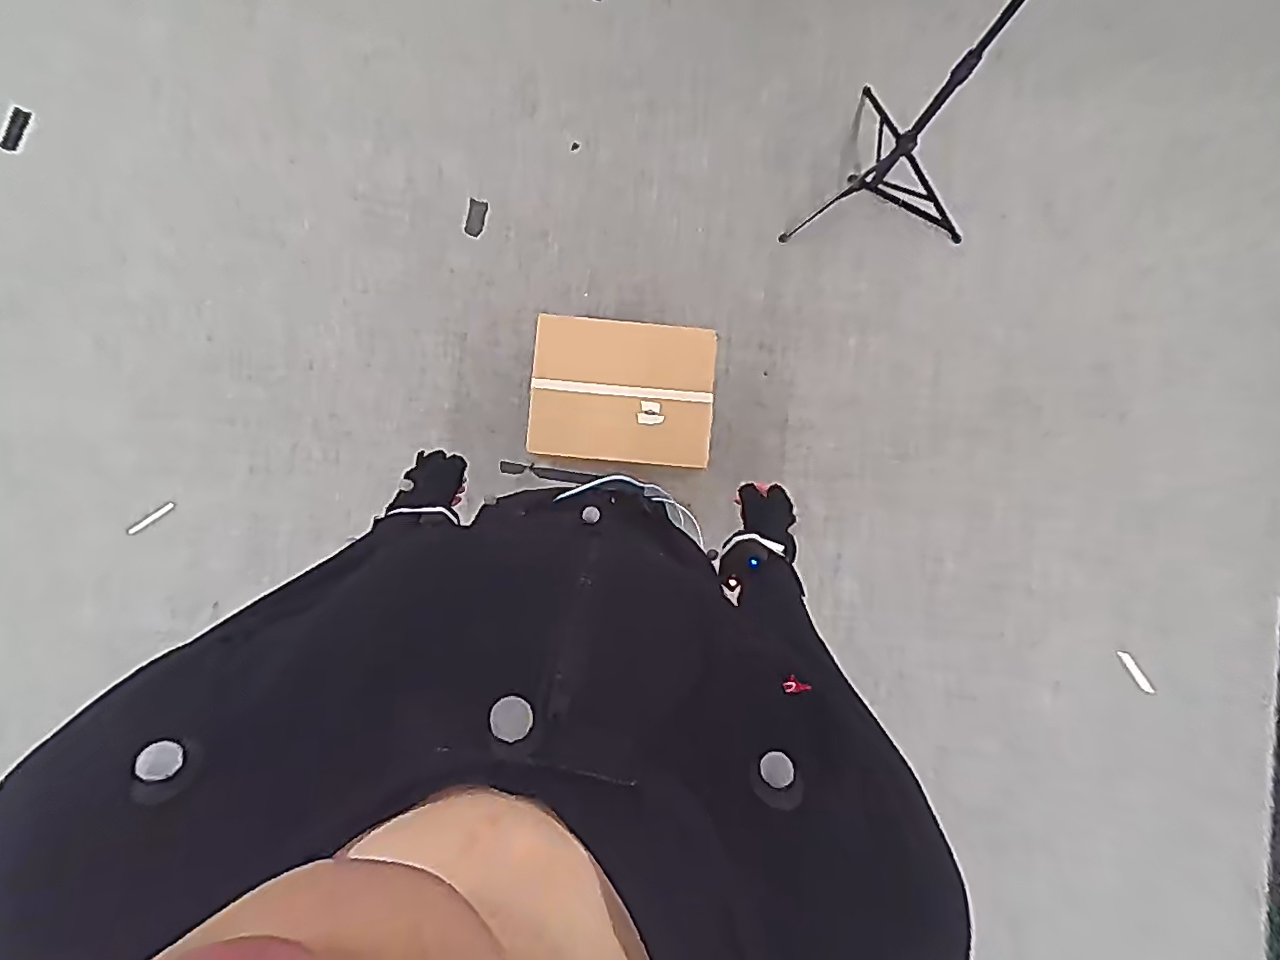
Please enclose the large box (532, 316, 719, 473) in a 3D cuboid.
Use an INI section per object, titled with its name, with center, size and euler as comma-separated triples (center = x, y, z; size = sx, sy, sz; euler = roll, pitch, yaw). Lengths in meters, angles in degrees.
[large box]
center = -0.037, -0.193, 1.354
size = 0.408, 0.320, 0.320
euler = 5, 88, -2
